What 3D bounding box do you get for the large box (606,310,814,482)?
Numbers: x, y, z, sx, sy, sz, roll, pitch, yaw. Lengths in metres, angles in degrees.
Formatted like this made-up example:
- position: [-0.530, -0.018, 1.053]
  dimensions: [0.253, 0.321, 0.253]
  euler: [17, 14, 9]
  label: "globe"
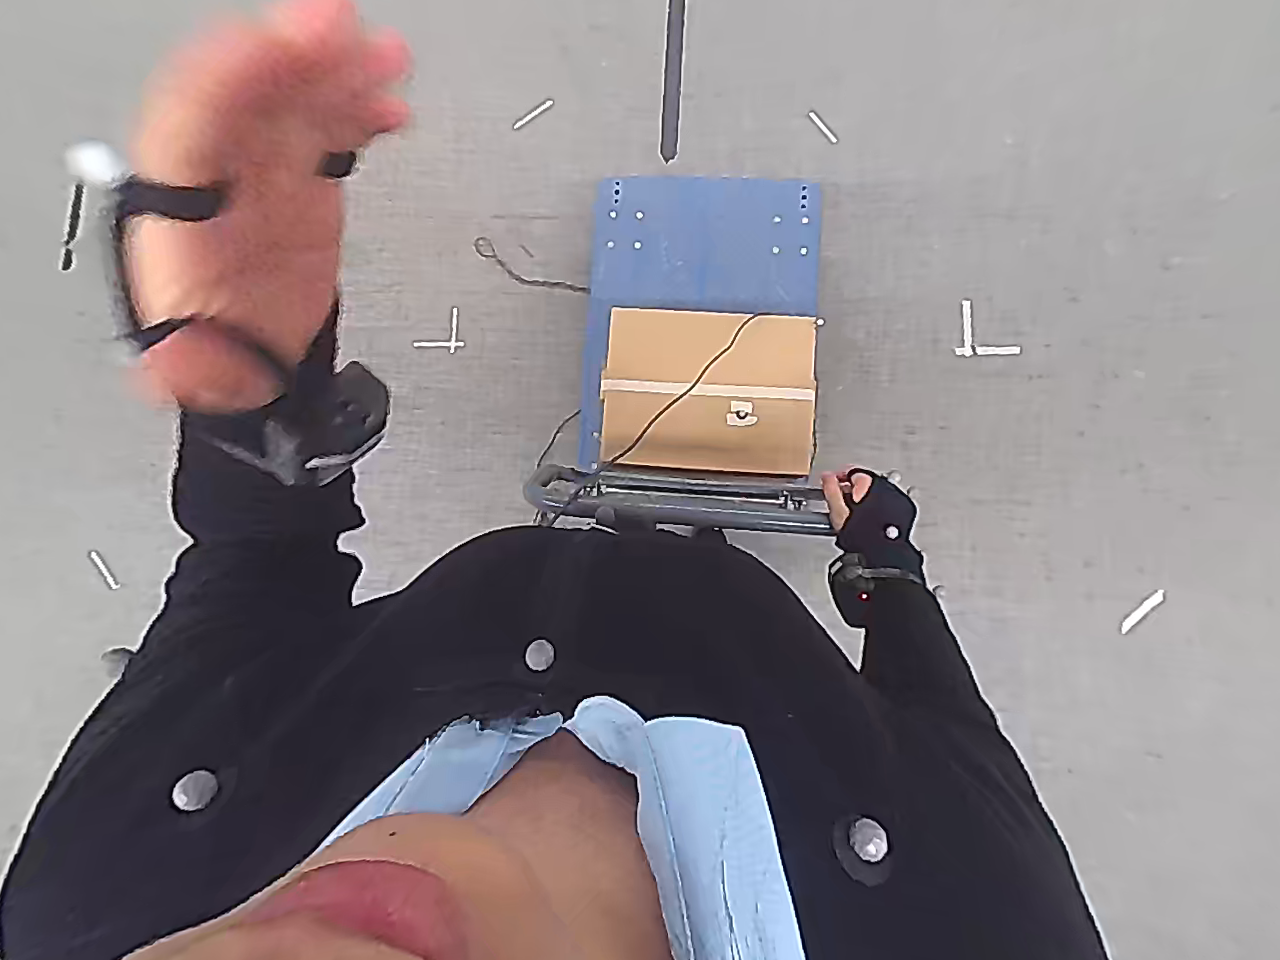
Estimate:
- position: [0.142, -0.166, 1.210]
  dimensions: [0.408, 0.320, 0.320]
  euler: [4, 86, 3]
  label: "large box"
